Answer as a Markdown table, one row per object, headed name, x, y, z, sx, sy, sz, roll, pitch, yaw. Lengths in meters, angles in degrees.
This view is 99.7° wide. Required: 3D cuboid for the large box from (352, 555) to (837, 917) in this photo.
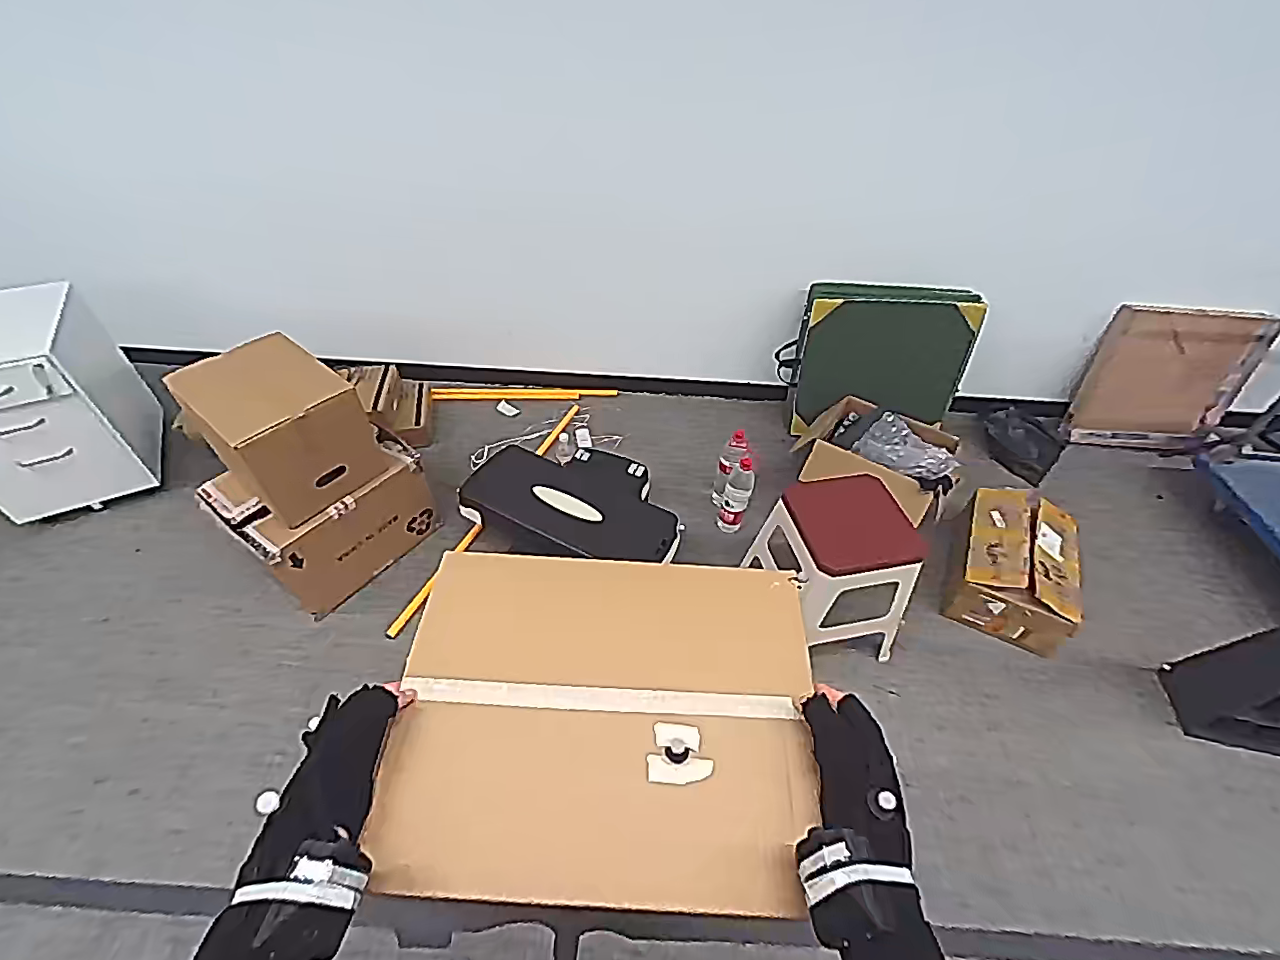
| name | x | y | z | sx | sy | sz | roll | pitch | yaw |
| --- | --- | --- | --- | --- | --- | --- | --- | --- | --- |
| large box | -0.038 | 0.310 | 0.643 | 0.408 | 0.320 | 0.320 | 4 | 50 | 0 |
